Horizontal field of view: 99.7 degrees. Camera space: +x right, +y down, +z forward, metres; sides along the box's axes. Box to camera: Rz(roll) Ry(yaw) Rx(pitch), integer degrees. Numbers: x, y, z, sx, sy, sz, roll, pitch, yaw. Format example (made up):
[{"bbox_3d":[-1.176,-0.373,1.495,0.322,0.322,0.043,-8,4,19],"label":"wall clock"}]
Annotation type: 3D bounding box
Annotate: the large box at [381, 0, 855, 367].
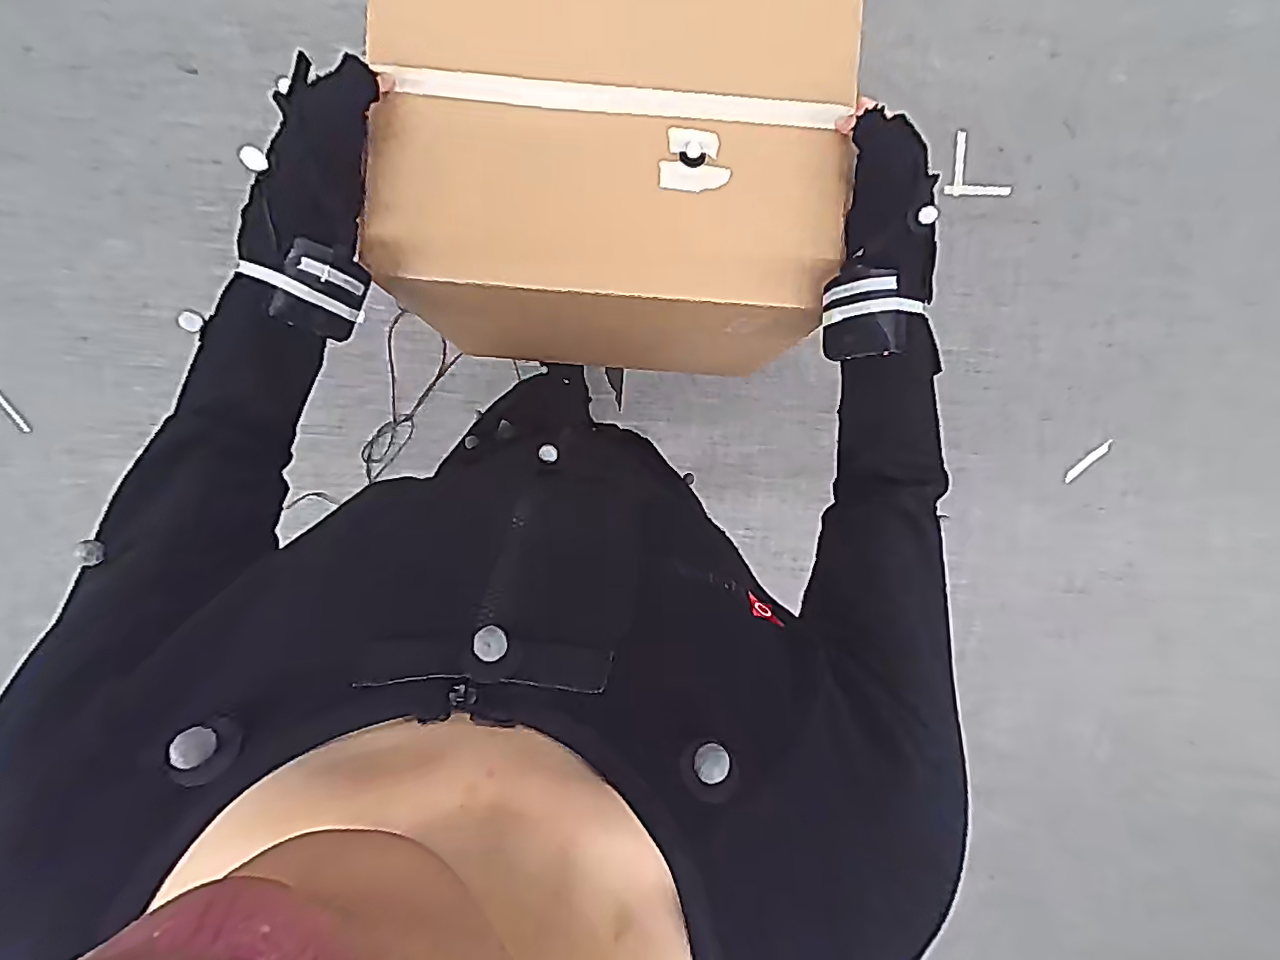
[{"bbox_3d":[-0.023,-0.321,0.612,0.408,0.320,0.320,4,90,-2],"label":"large box"}]
